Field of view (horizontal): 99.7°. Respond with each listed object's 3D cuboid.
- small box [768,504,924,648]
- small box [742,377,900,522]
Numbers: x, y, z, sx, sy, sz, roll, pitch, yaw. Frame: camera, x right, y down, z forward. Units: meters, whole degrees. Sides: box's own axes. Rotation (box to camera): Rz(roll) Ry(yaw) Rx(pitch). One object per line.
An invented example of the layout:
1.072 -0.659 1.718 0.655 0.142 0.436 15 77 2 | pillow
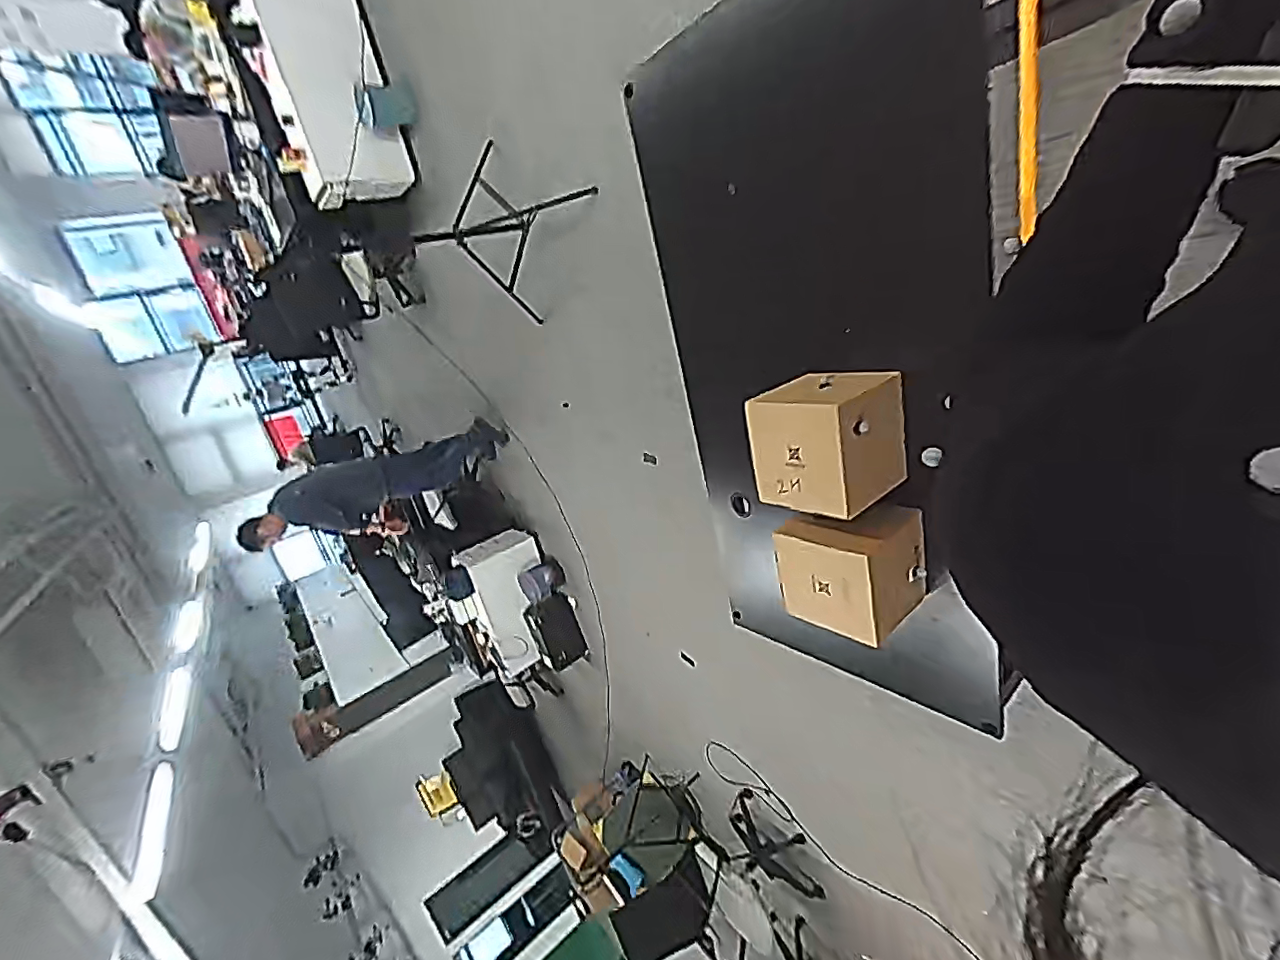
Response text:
0.347 0.144 0.909 0.179 0.176 0.168 10 122 52 | small box
0.287 -0.059 0.849 0.168 0.176 0.179 14 123 52 | small box
